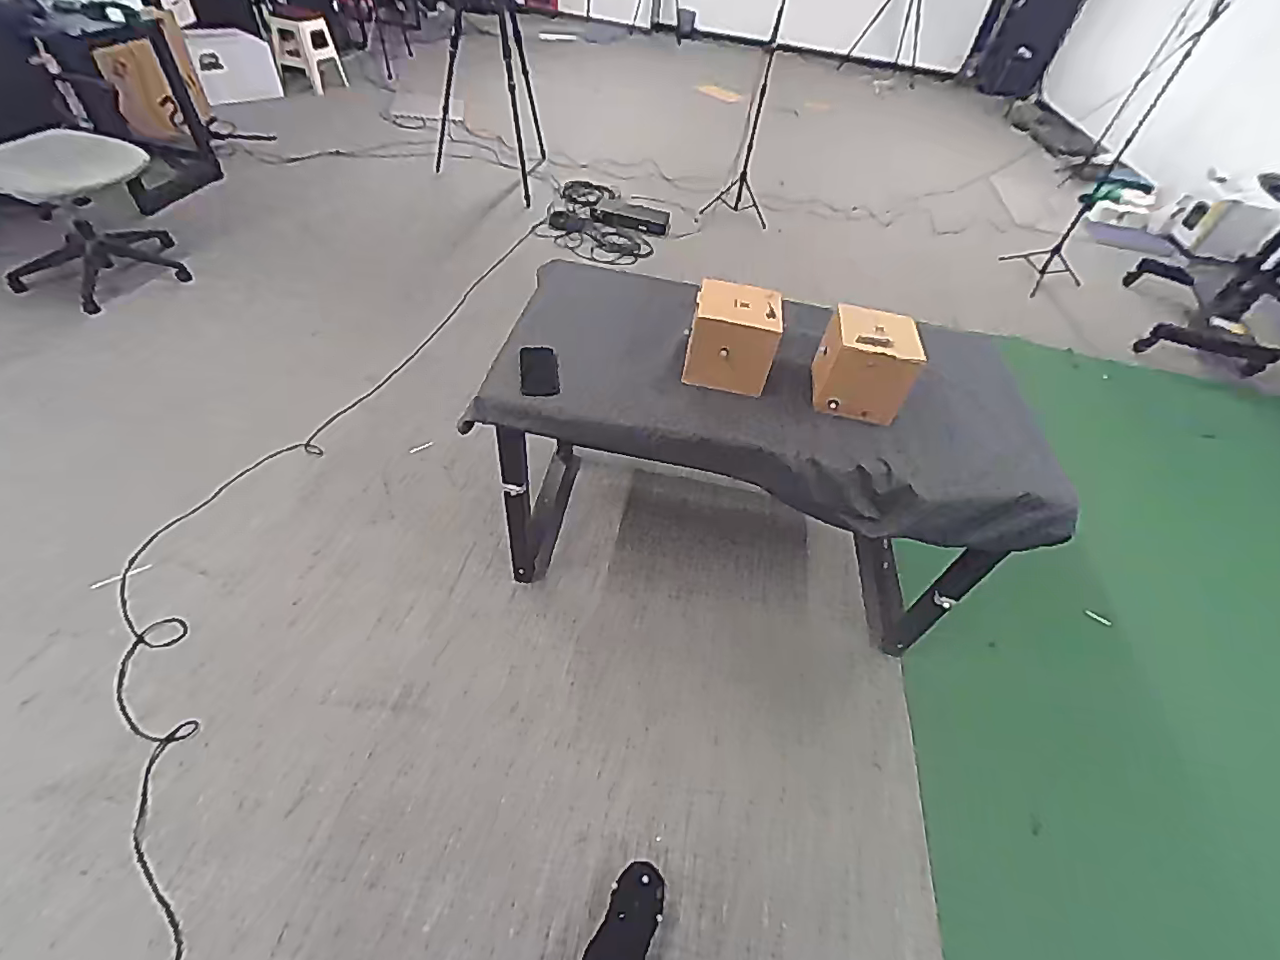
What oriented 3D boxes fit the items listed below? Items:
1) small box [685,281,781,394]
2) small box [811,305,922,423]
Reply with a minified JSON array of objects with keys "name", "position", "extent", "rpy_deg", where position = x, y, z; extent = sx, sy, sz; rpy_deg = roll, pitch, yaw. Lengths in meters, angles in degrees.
[{"name":"small box","position":[0.199,-0.308,1.183],"extent":[0.179,0.176,0.168],"rpy_deg":[11,48,1]},{"name":"small box","position":[0.479,-0.248,1.173],"extent":[0.168,0.176,0.179],"rpy_deg":[13,47,2]}]
